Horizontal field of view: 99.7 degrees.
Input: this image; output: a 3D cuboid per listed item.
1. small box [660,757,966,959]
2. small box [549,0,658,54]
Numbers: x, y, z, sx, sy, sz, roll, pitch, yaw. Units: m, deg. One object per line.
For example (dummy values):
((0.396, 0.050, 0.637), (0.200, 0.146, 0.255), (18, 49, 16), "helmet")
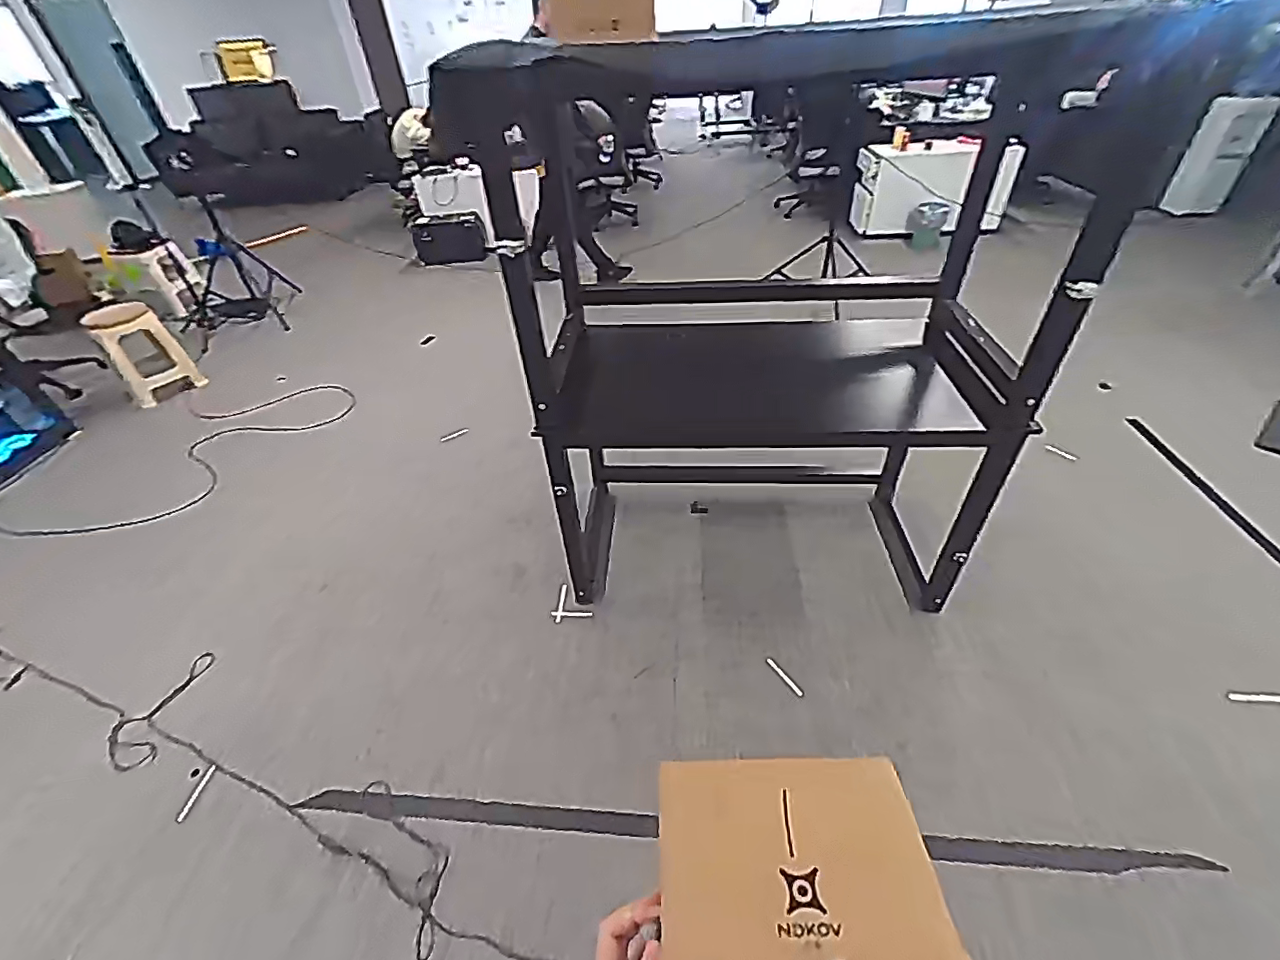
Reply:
((0.099, 0.313, 0.358), (0.168, 0.176, 0.179), (-2, 35, 2), "small box")
((-0.058, -0.809, 0.881), (0.168, 0.176, 0.179), (1, 38, 4), "small box")
